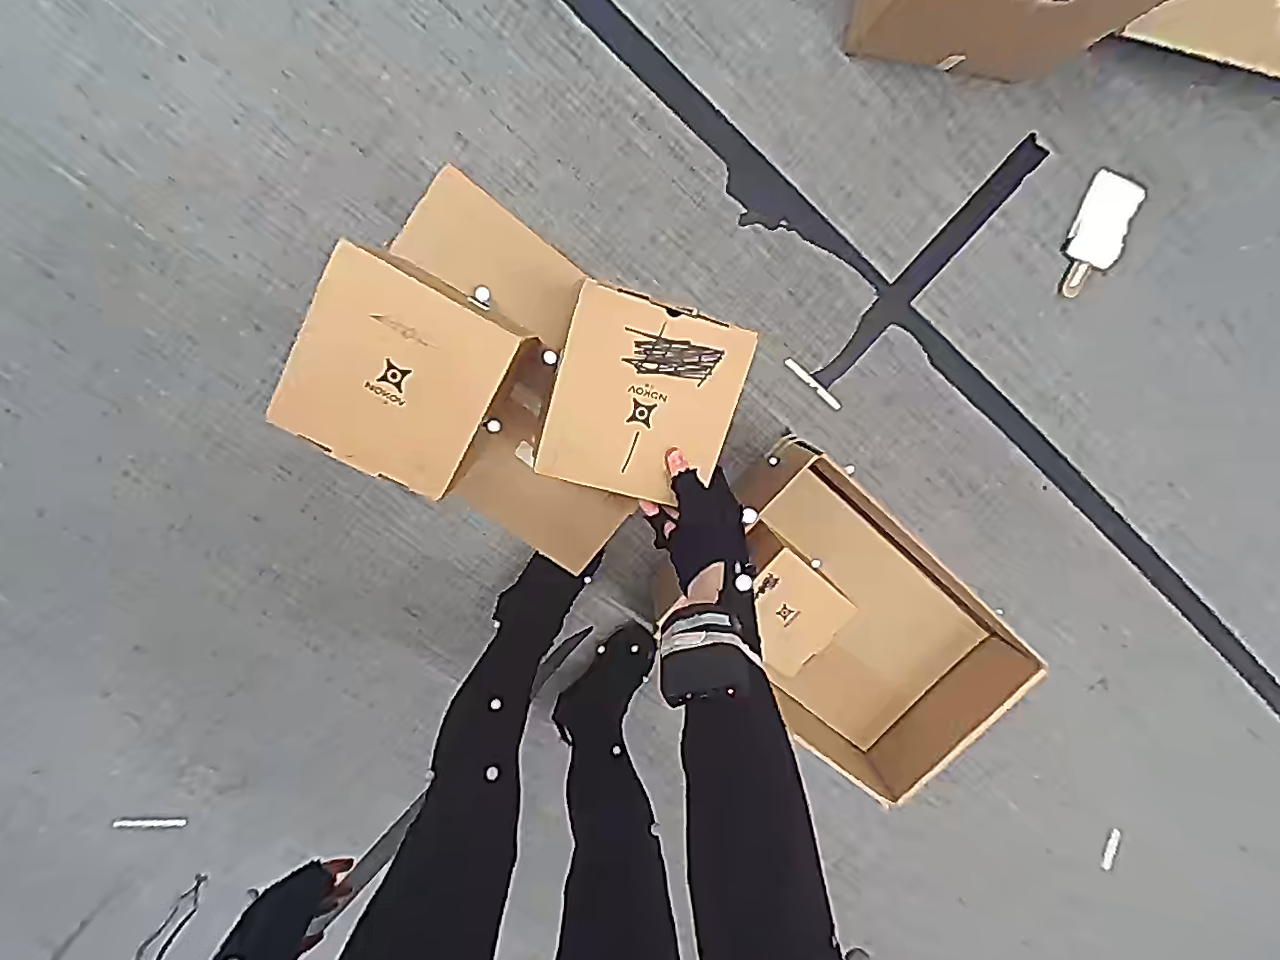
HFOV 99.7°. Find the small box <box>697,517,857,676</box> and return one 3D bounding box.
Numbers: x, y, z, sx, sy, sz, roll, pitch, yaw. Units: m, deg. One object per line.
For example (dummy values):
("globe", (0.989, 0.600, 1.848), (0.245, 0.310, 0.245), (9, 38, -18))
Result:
("small box", (0.224, 0.190, 0.928), (0.179, 0.176, 0.168), (39, 97, -15))

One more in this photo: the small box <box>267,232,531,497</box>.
("small box", (-0.222, -0.114, 0.547), (0.168, 0.176, 0.179), (27, 101, -12))

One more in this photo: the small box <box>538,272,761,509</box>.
("small box", (-0.006, -0.094, 0.555), (0.168, 0.176, 0.179), (15, 104, -14))

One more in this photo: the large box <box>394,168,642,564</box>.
("large box", (-0.152, -0.153, 0.793), (0.408, 0.320, 0.320), (35, 101, -13))
